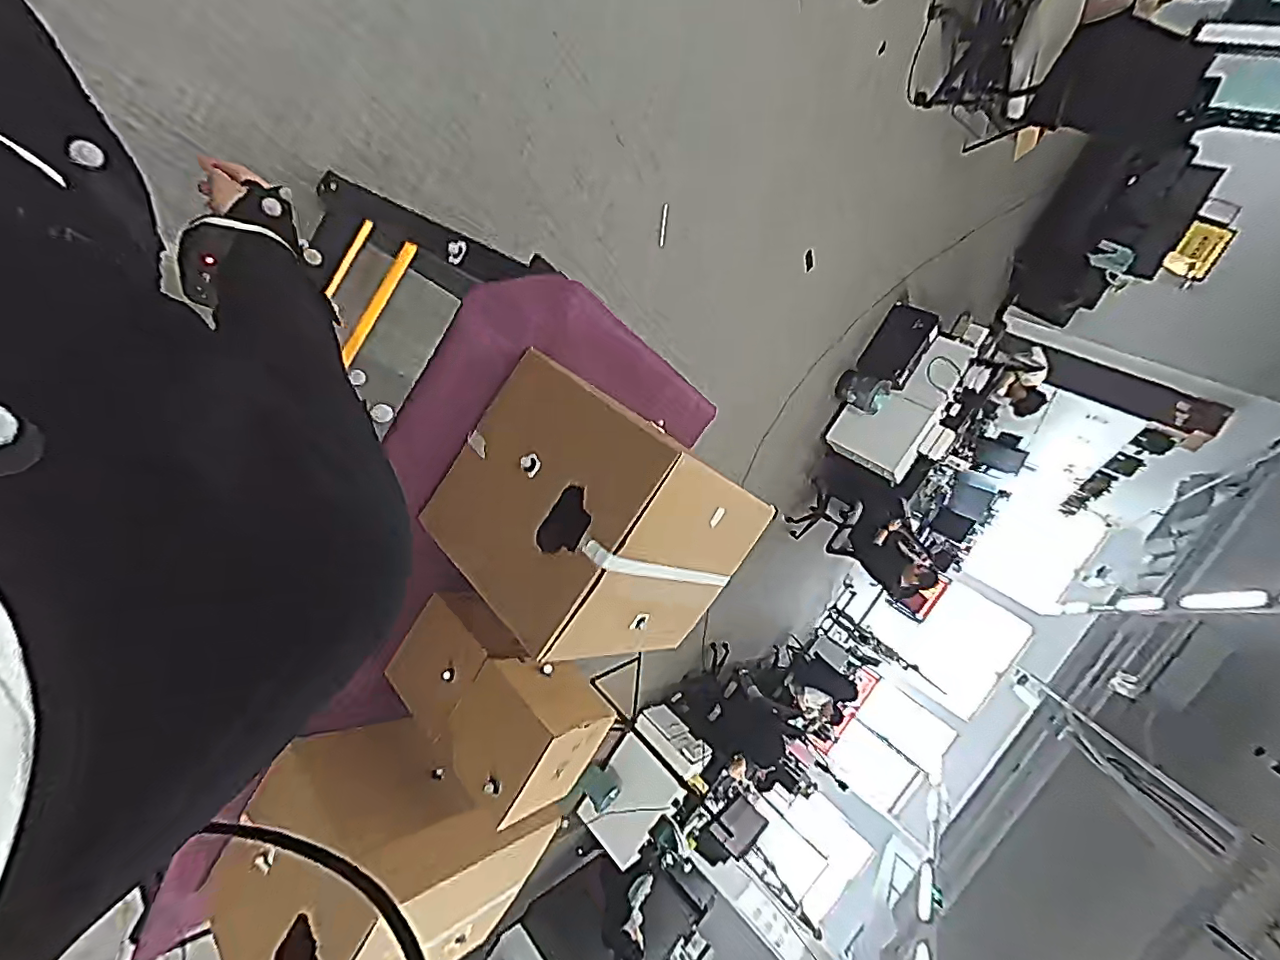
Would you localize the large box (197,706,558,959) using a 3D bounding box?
[{"bbox_3d":[-0.431,0.645,0.935,0.320,0.320,0.408,-57,150,5],"label":"large box"}]
